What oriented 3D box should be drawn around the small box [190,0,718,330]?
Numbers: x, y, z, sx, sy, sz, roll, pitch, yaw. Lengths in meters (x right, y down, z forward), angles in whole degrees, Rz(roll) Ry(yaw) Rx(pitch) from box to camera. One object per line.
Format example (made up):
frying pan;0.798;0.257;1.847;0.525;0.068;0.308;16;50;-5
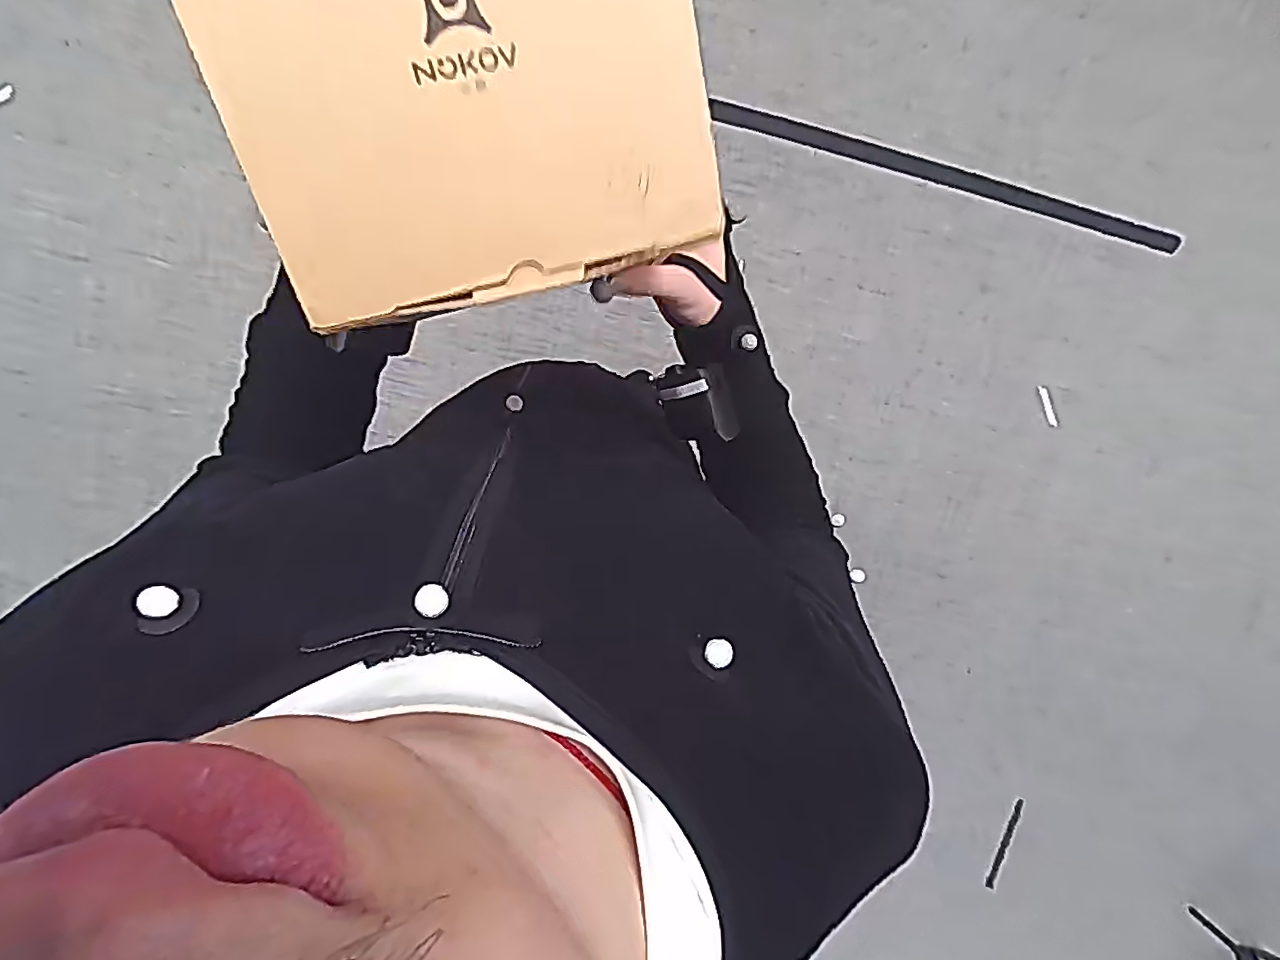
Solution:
small box;-0.078;-0.185;0.266;0.168;0.176;0.179;-18;109;-5
